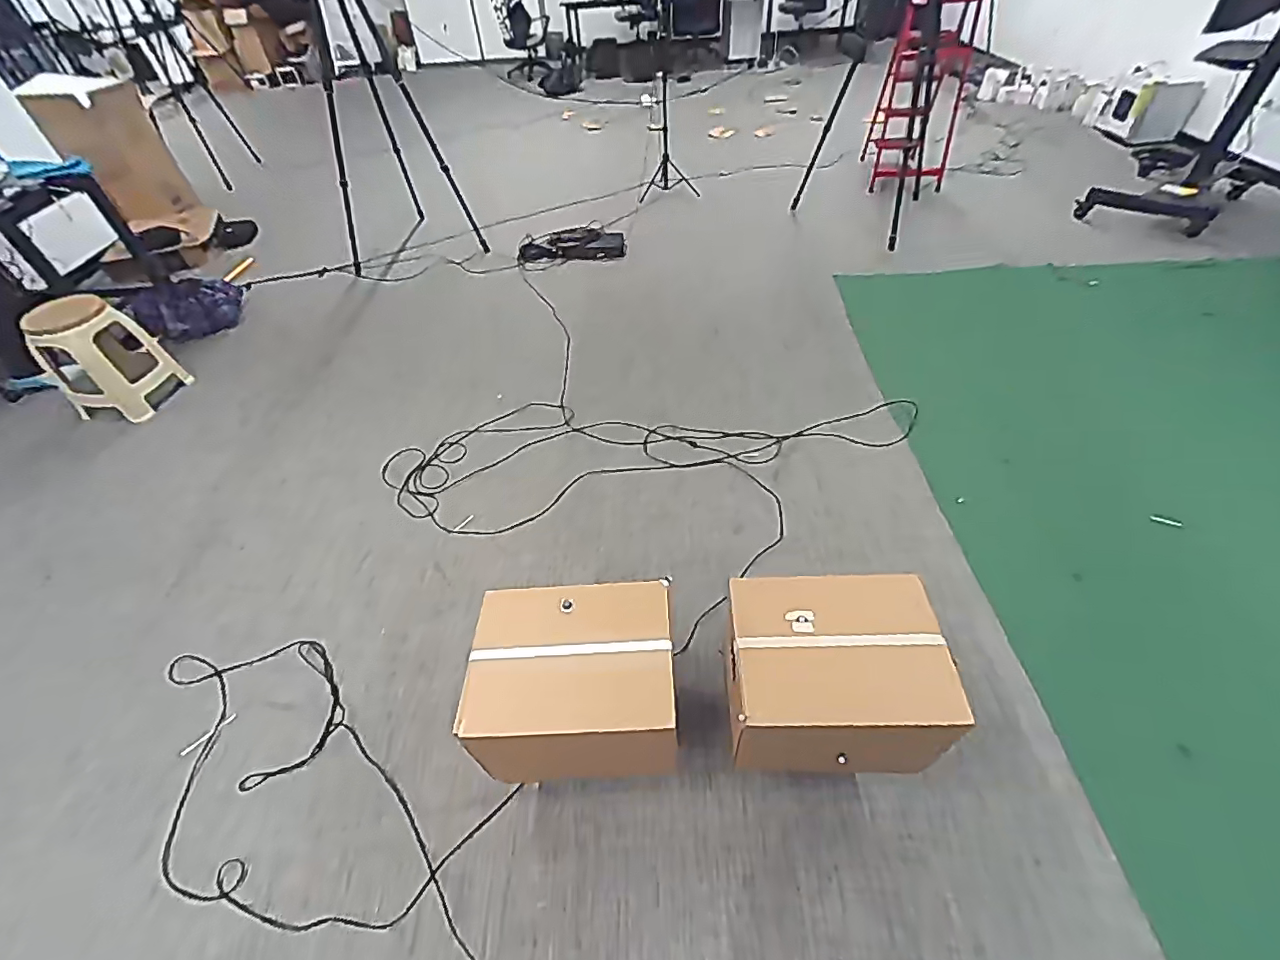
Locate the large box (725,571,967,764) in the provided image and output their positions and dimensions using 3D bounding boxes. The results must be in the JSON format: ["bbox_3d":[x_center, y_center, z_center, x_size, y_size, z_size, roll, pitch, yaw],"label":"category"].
[{"bbox_3d":[0.406,0.419,1.191,0.408,0.320,0.320,-2,47,4],"label":"large box"}]
